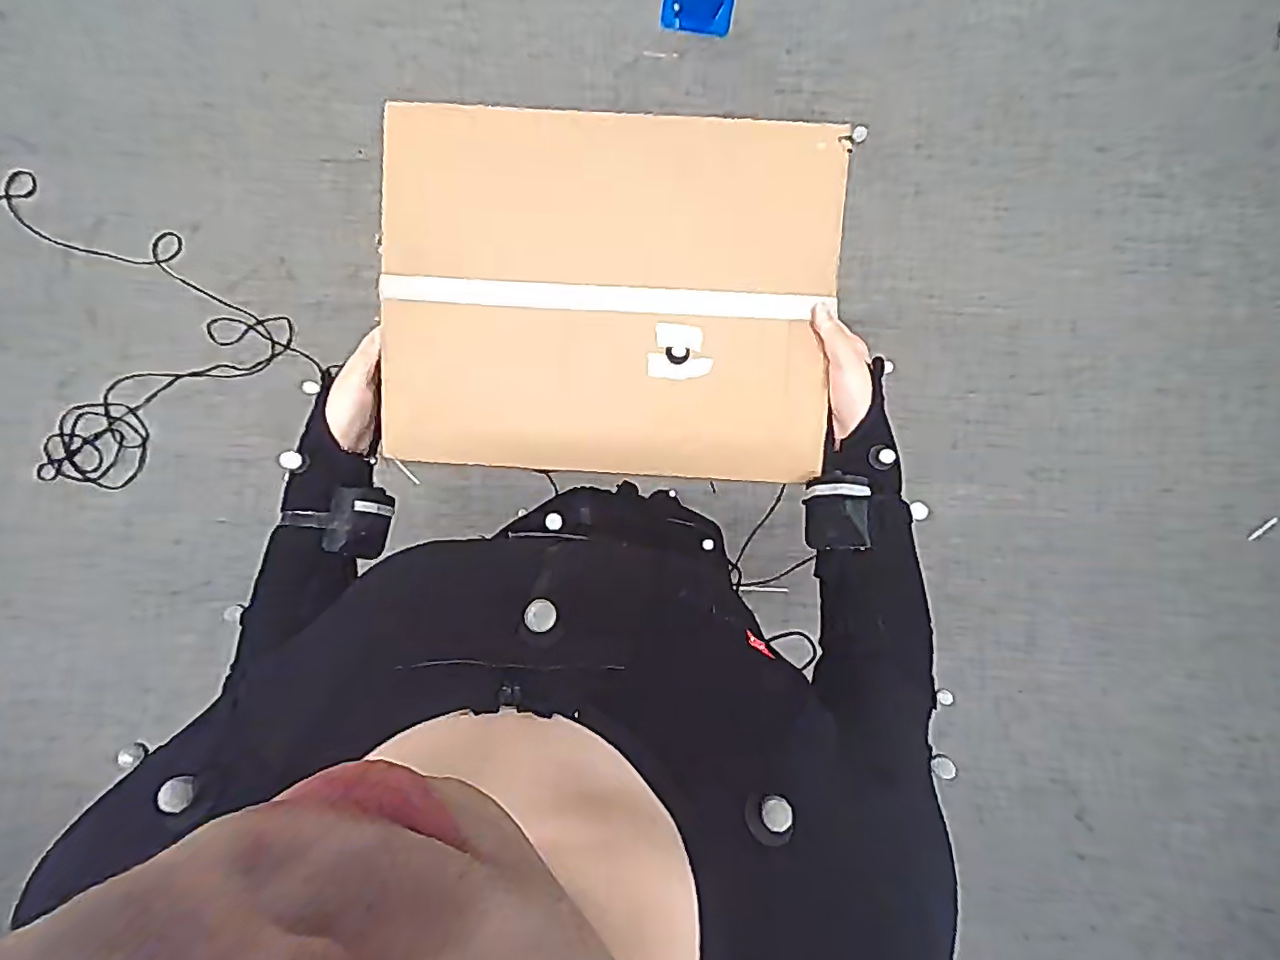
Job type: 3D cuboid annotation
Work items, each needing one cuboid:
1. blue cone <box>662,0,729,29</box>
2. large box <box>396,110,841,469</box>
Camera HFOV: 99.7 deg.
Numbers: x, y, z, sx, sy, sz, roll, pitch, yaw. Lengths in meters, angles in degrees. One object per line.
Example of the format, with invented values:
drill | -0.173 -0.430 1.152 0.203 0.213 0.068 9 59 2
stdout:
blue cone | 0.162 -1.402 1.388 0.193 0.380 0.192 11 88 0
large box | -0.026 -0.183 0.641 0.408 0.320 0.320 3 96 0
